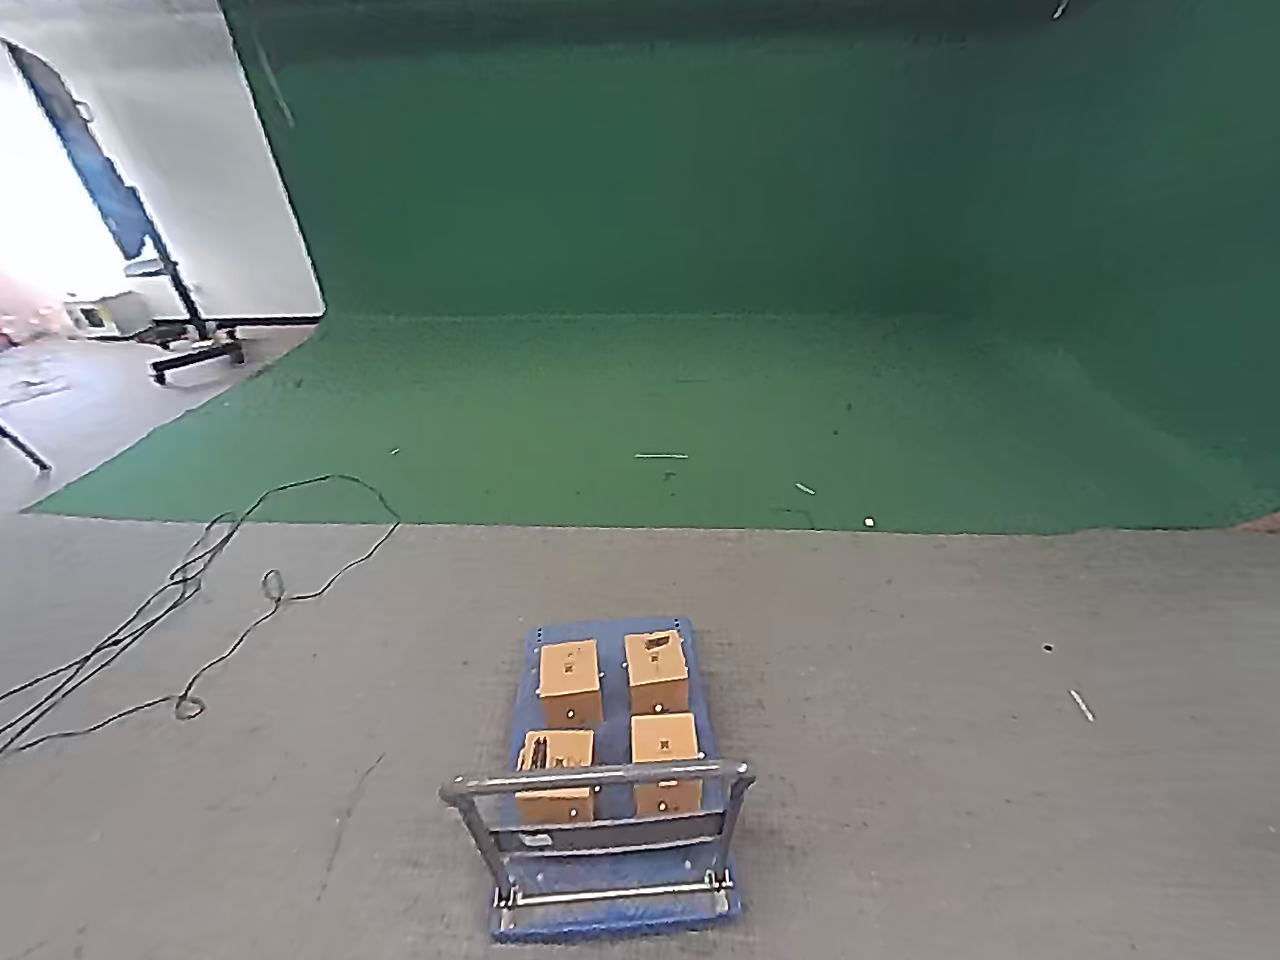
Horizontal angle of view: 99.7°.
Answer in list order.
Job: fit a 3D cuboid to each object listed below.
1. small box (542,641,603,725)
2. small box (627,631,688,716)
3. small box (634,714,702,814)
[{"bbox_3d":[-0.200,0.614,1.620,0.168,0.176,0.179,-5,35,-5],"label":"small box"},{"bbox_3d":[0.050,0.589,1.643,0.168,0.176,0.179,-6,36,-4],"label":"small box"},{"bbox_3d":[0.067,0.744,1.421,0.168,0.176,0.179,-3,35,-1],"label":"small box"}]
